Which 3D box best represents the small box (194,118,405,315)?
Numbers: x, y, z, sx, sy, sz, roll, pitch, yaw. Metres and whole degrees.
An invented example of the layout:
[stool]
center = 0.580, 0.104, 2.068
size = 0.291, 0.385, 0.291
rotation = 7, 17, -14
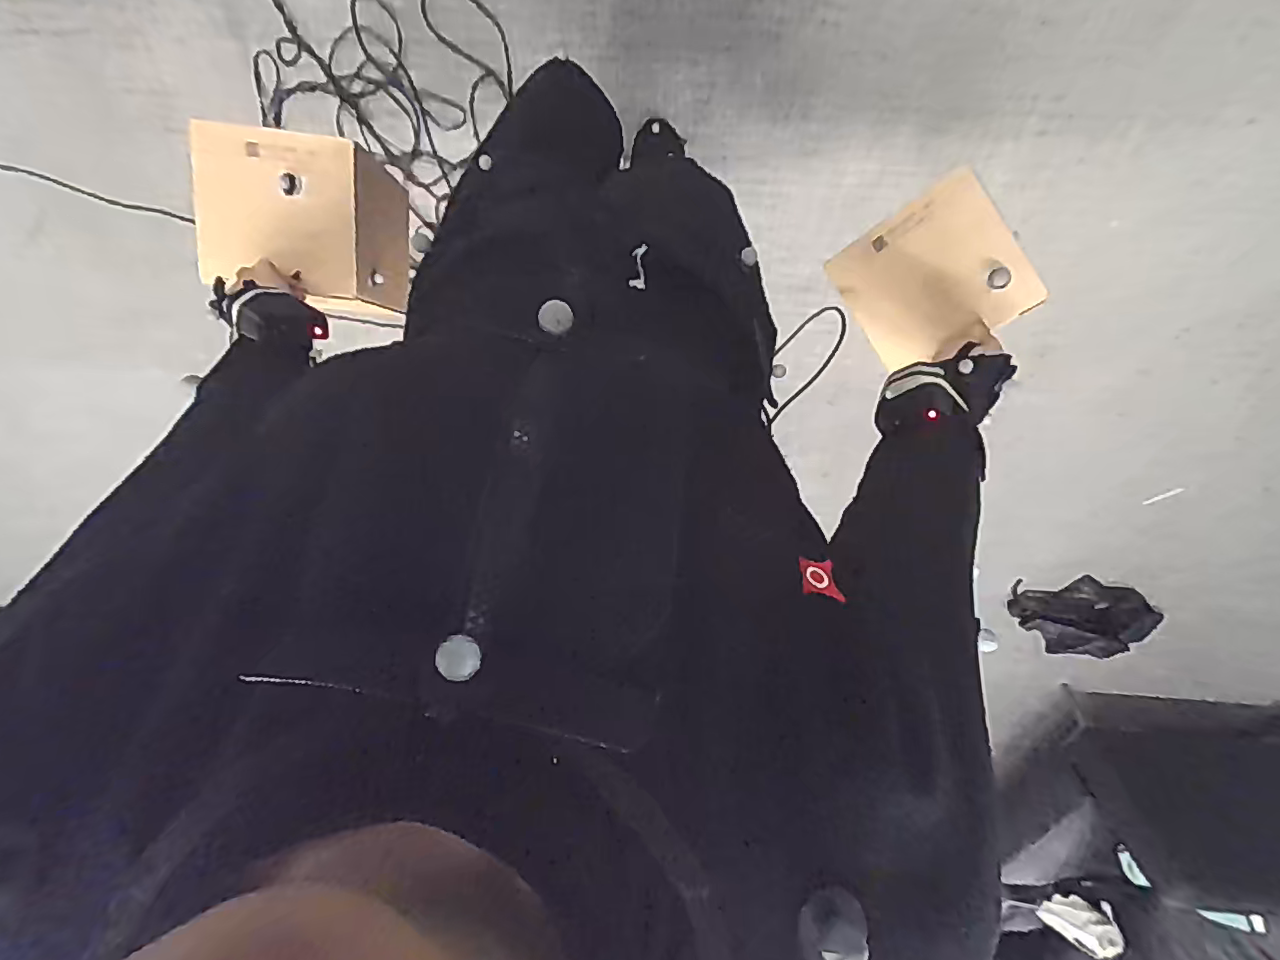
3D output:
[small box]
center = -0.396, -0.305, 0.659
size = 0.168, 0.179, 0.176
rotation = 4, 102, -6
